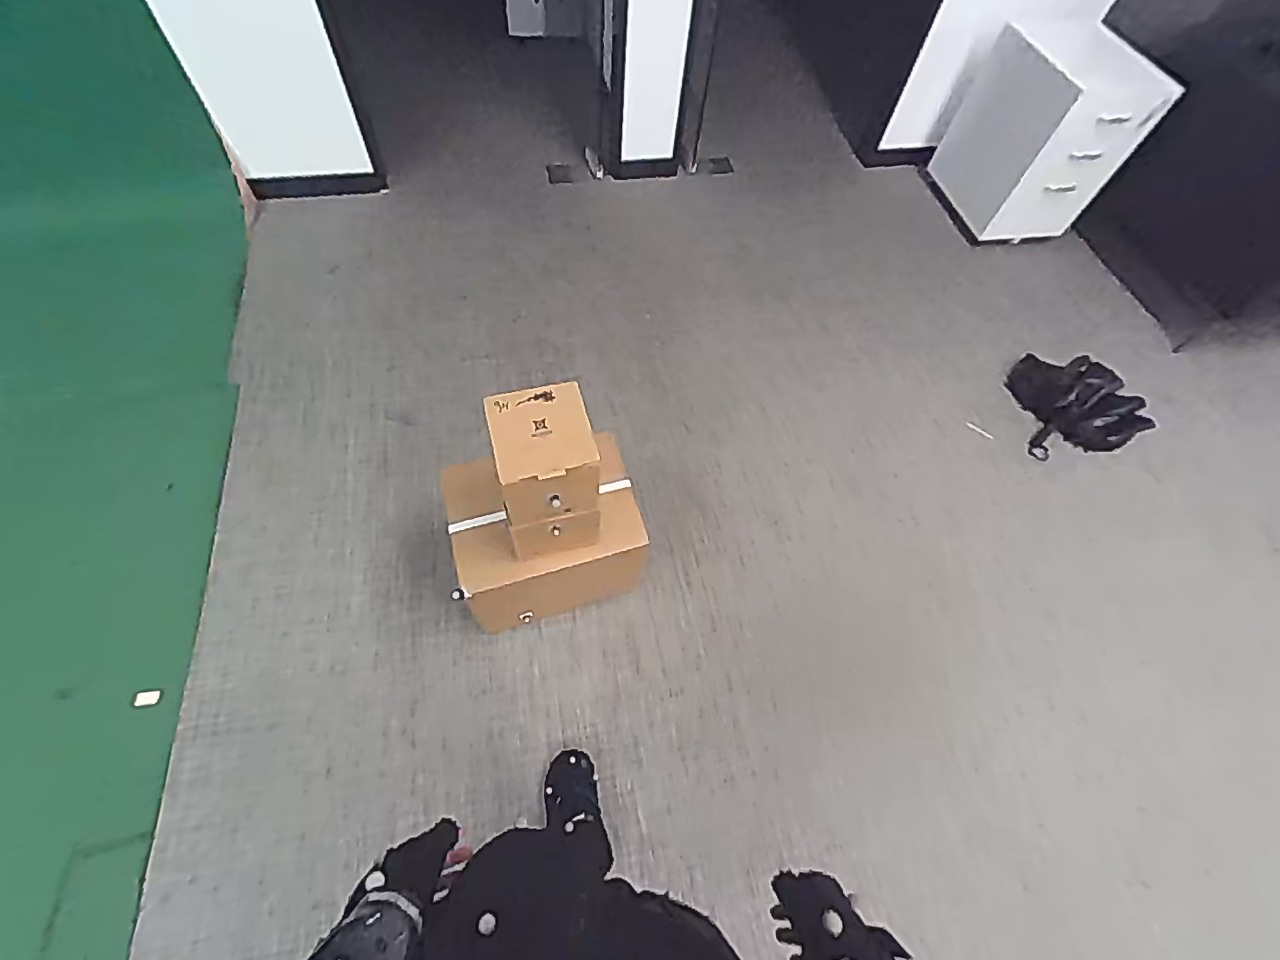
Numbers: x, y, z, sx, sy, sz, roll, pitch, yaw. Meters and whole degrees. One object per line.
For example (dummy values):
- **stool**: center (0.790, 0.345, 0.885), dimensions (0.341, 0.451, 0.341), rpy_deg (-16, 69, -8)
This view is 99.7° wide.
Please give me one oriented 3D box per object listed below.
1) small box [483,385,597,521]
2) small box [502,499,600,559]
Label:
- **small box**: center (-0.172, -0.039, 0.963), dimensions (0.168, 0.176, 0.179), rpy_deg (-12, 64, -12)
- **small box**: center (-0.185, 0.047, 1.102), dimensions (0.179, 0.176, 0.168), rpy_deg (-12, 63, -13)
